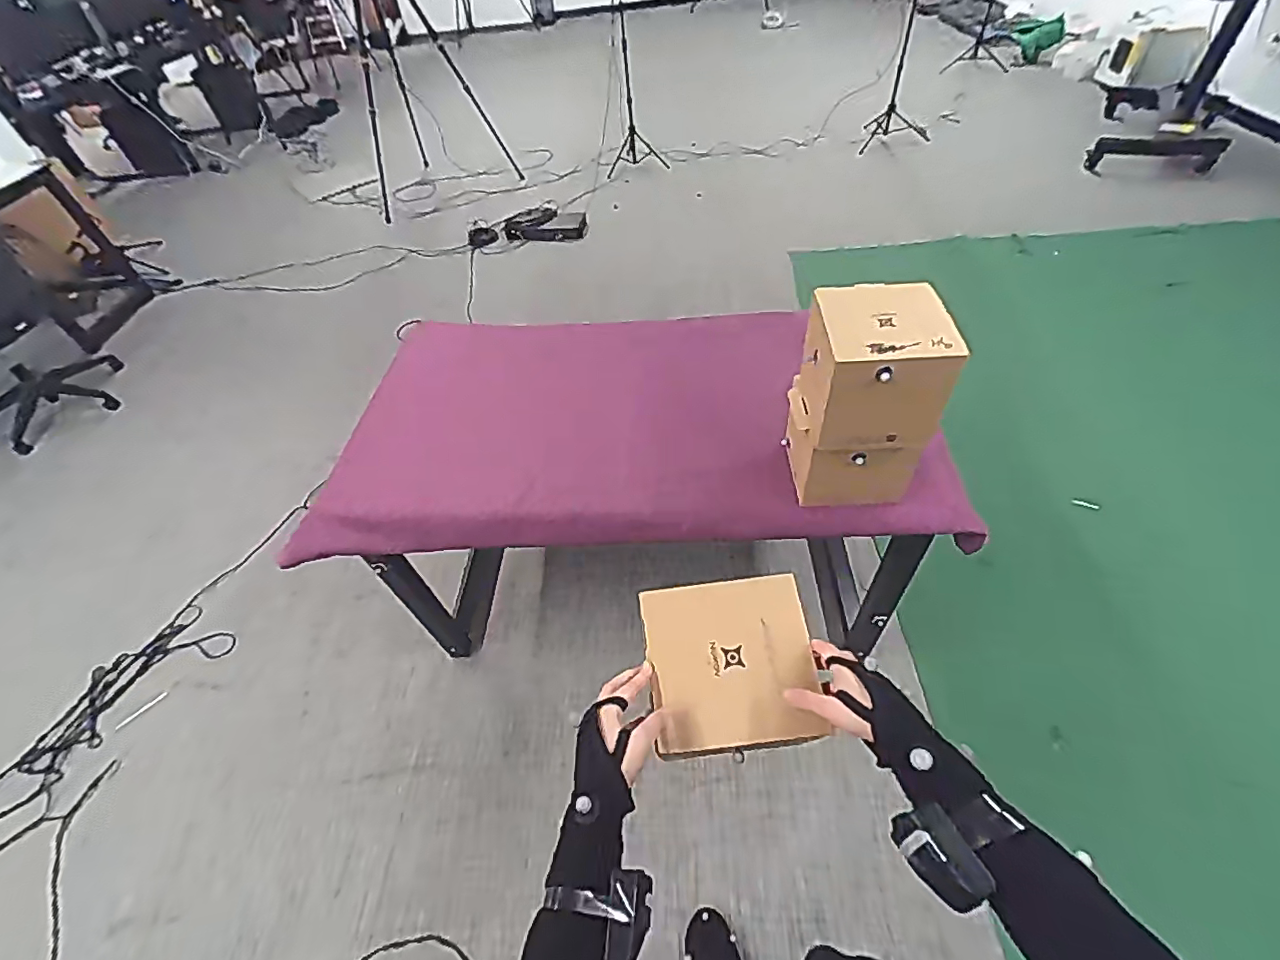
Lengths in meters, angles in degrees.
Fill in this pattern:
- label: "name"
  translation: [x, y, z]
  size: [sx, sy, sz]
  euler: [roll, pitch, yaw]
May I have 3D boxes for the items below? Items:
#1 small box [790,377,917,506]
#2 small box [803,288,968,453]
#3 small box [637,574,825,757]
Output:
- label: "small box"
  translation: [0.361, -0.067, 0.935]
  size: [0.179, 0.176, 0.168]
  euler: [-3, 50, 4]
- label: "small box"
  translation: [0.343, -0.160, 0.799]
  size: [0.168, 0.176, 0.179]
  euler: [-2, 49, 7]
- label: "small box"
  translation: [0.097, 0.224, 0.634]
  size: [0.179, 0.176, 0.168]
  euler: [-7, 60, 2]
